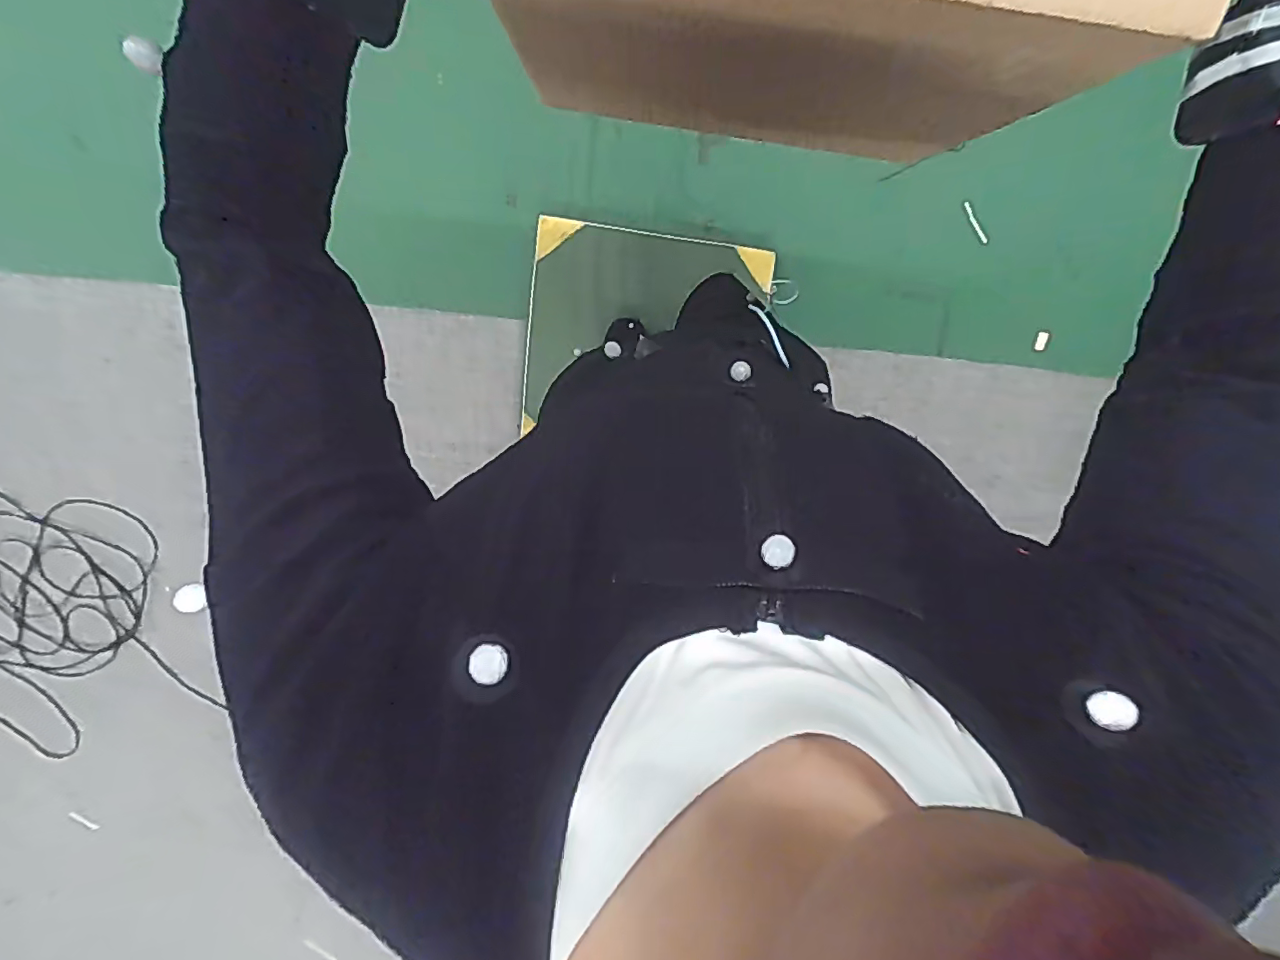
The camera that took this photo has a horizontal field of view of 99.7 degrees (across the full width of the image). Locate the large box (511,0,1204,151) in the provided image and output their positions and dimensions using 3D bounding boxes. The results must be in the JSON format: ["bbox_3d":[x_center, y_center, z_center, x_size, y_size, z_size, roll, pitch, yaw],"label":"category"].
[{"bbox_3d":[0.120,-0.460,0.376,0.408,0.320,0.320,6,110,-4],"label":"large box"}]
